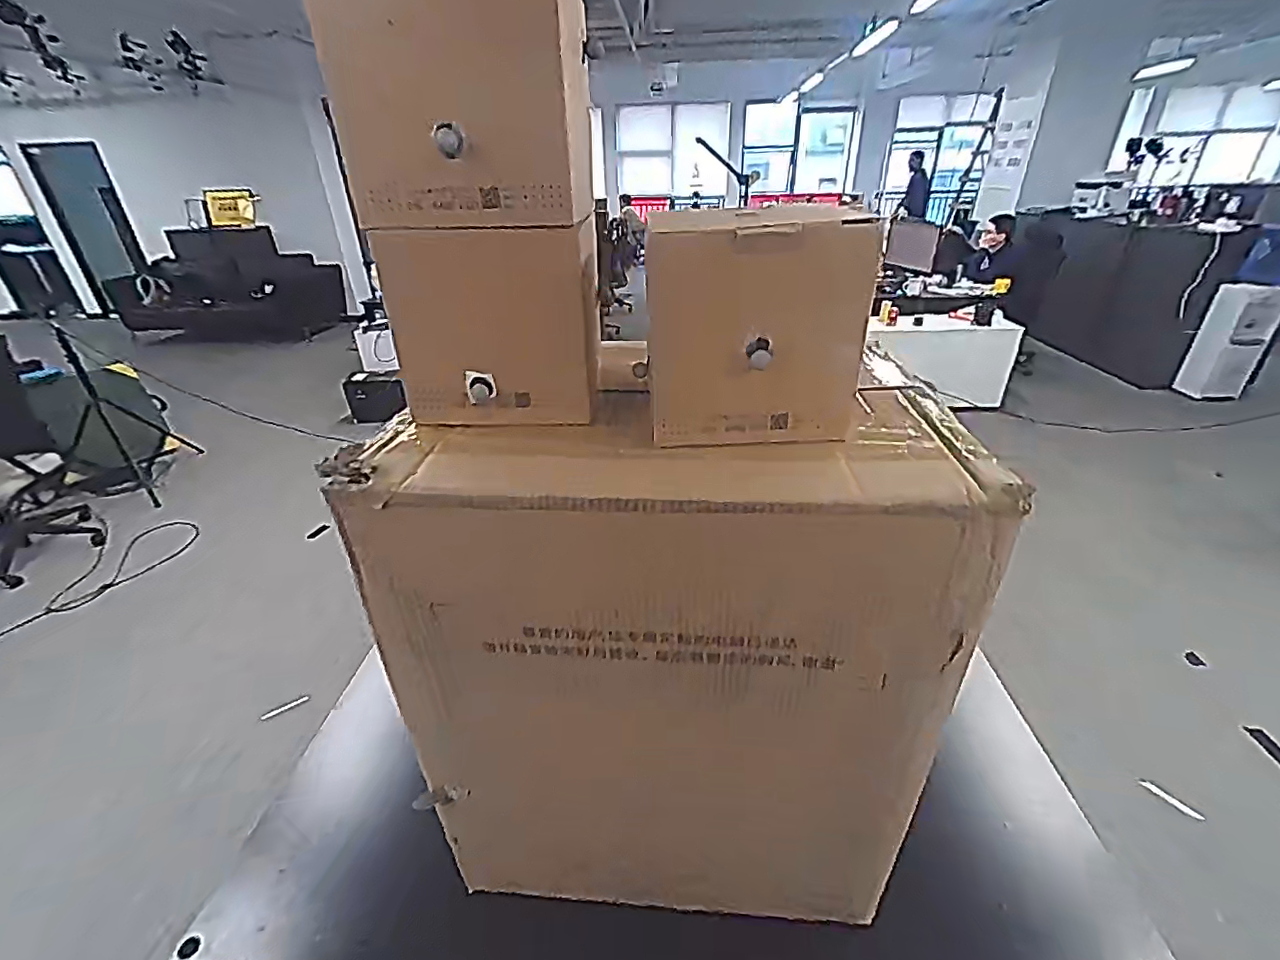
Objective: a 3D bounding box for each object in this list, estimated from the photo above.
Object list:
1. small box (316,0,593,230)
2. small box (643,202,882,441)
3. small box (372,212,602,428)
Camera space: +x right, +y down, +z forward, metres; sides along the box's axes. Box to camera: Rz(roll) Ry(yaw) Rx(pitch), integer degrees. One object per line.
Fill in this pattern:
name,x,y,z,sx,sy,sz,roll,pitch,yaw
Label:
small box,-0.130,-0.302,0.439,0.168,0.176,0.179,-1,30,2
small box,0.088,-0.142,0.479,0.168,0.176,0.179,-2,31,0
small box,-0.125,-0.160,0.522,0.168,0.176,0.179,-2,31,0
